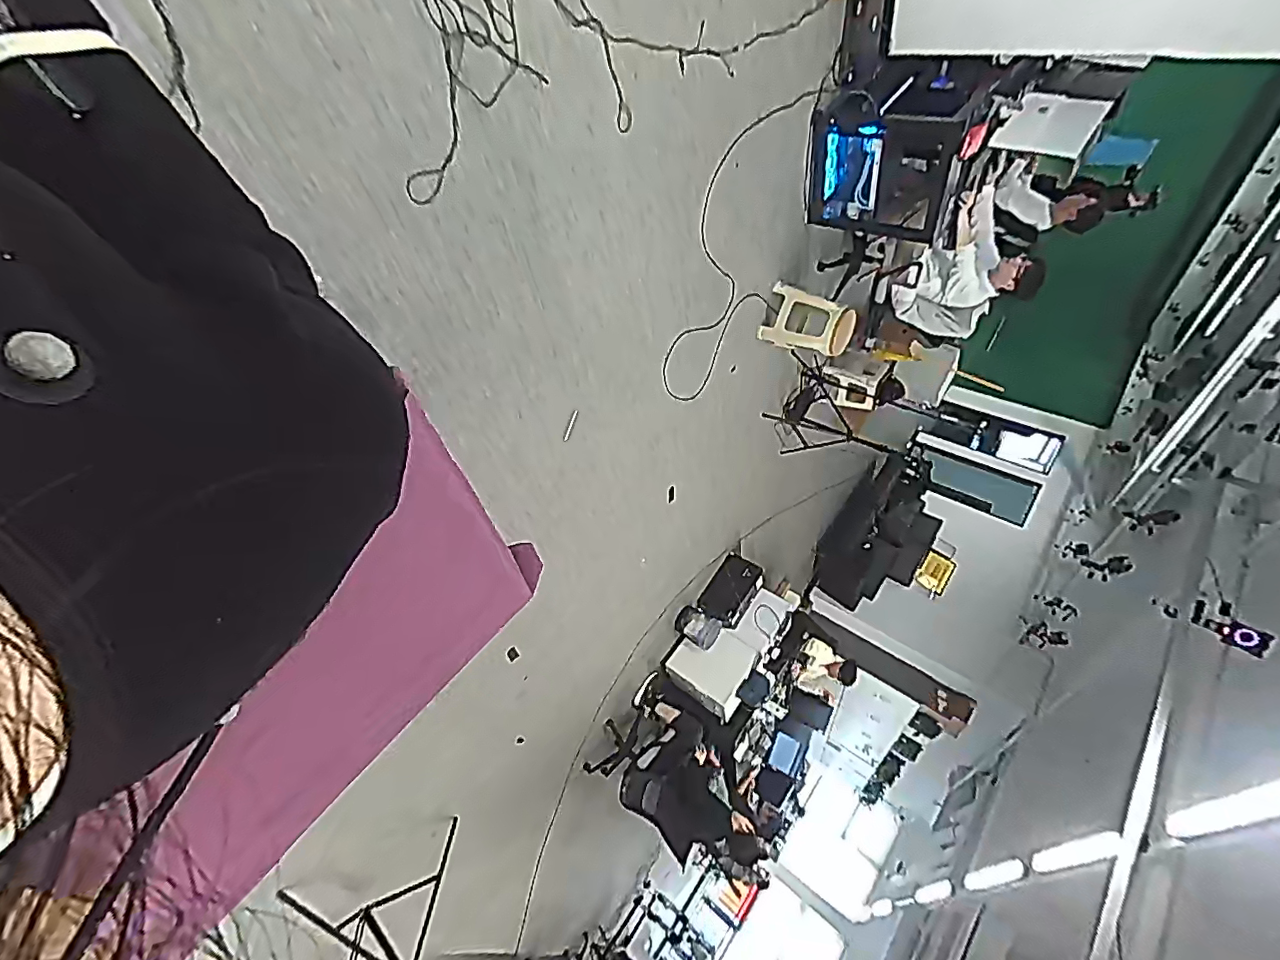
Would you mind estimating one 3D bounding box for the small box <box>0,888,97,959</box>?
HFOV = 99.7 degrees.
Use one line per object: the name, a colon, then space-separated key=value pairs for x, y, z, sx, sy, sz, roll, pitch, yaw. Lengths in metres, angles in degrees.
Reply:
small box: x=-0.800 y=0.631 z=0.642 sx=0.168 sy=0.176 sz=0.179 roll=-45 pitch=144 yaw=-28
